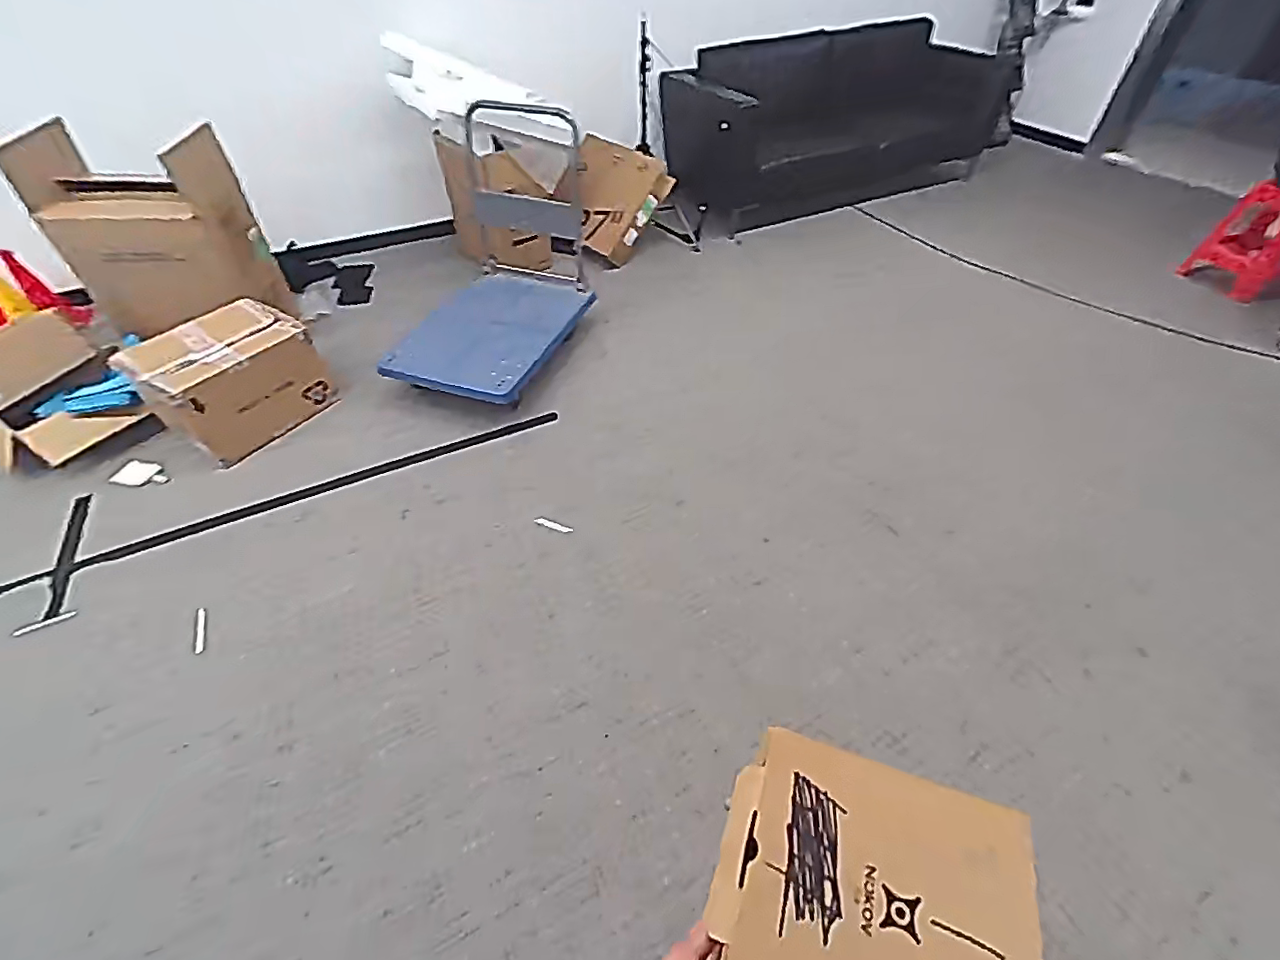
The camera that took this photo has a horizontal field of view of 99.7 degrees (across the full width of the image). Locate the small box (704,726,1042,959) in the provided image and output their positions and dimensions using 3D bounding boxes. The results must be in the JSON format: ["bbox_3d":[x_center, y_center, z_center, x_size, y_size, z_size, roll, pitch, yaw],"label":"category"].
[{"bbox_3d":[0.149,0.311,0.385,0.179,0.176,0.168,15,51,14],"label":"small box"}]
